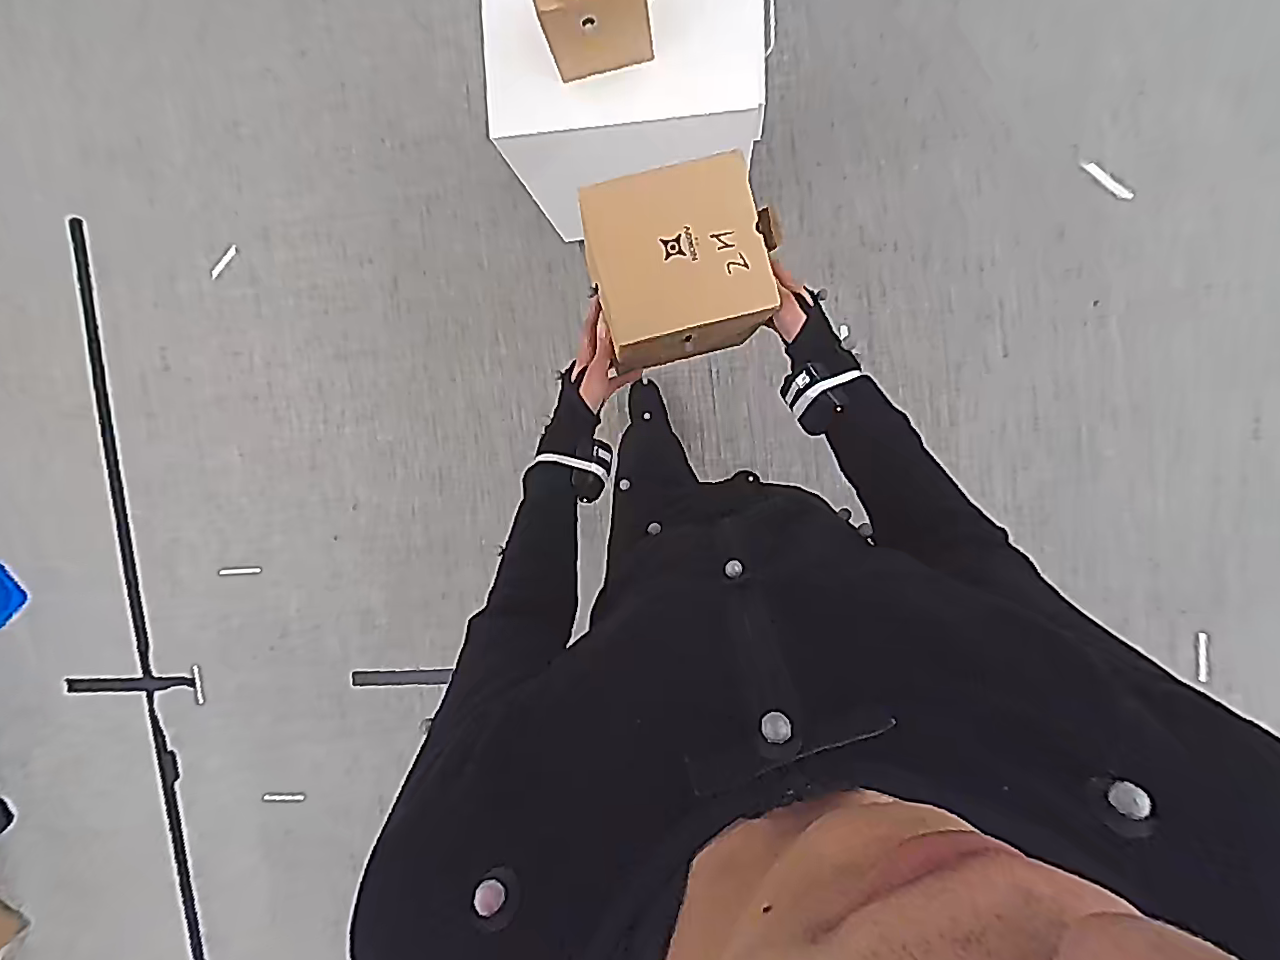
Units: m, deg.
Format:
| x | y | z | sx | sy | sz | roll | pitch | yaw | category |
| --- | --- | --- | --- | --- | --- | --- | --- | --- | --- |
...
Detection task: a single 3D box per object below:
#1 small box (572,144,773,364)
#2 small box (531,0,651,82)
| x | y | z | sx | sy | sz | roll | pitch | yaw | category |
| --- | --- | --- | --- | --- | --- | --- | --- | --- | --- |
| 0.031 | -0.243 | 0.626 | 0.179 | 0.176 | 0.168 | -15 | 92 | -3 | small box |
| -0.085 | -0.819 | 0.911 | 0.179 | 0.176 | 0.168 | -9 | 93 | 7 | small box |
